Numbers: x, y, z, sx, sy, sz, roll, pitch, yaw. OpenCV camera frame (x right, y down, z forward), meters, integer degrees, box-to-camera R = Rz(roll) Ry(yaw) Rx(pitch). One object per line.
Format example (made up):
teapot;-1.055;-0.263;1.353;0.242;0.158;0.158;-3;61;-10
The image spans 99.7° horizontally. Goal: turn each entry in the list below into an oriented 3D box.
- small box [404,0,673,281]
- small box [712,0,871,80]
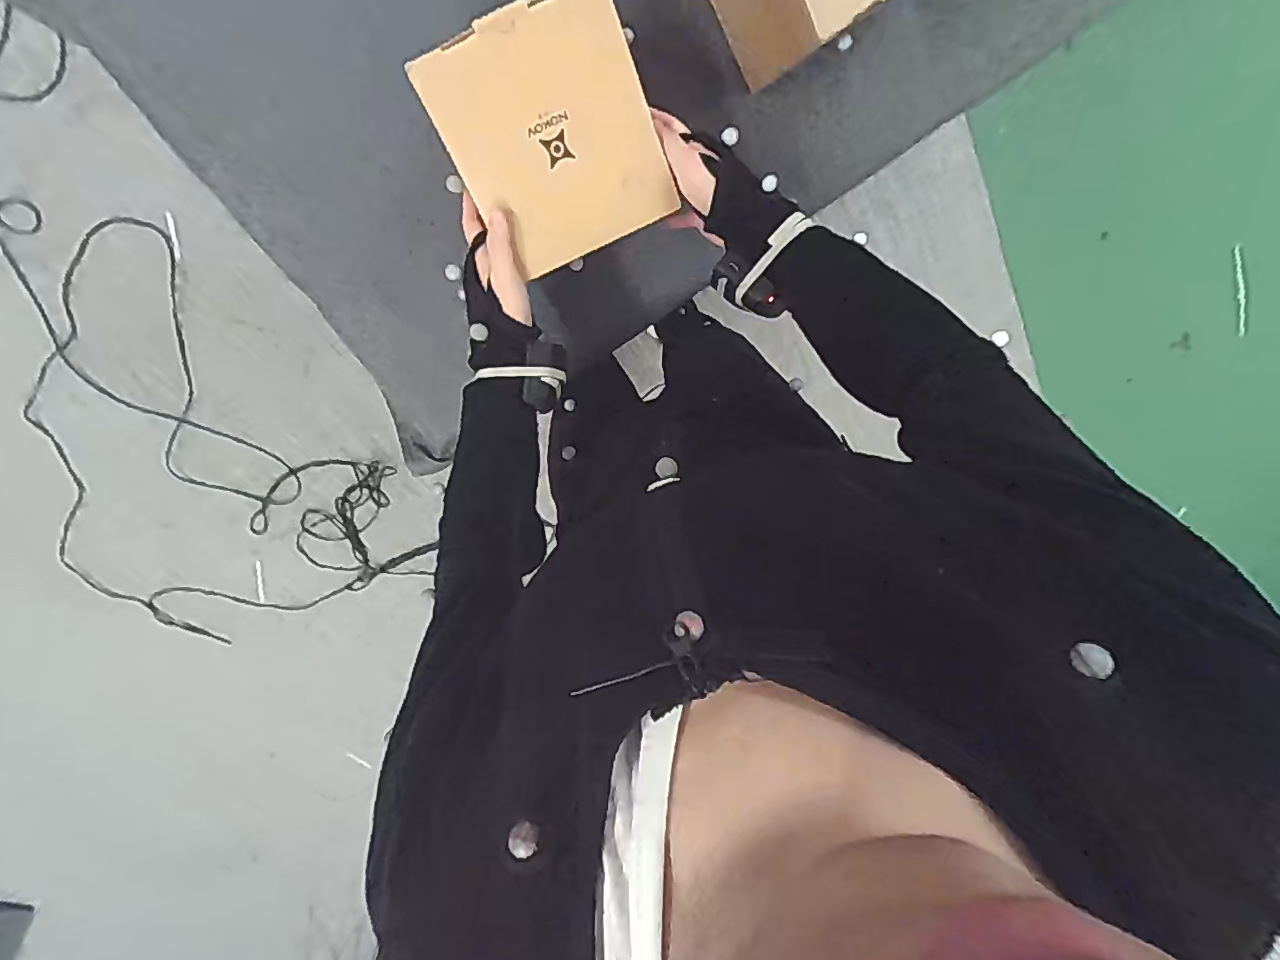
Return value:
small box;-0.086;-0.314;0.514;0.168;0.176;0.179;-24;117;2
small box;0.152;-0.510;0.481;0.168;0.176;0.179;-34;115;6
